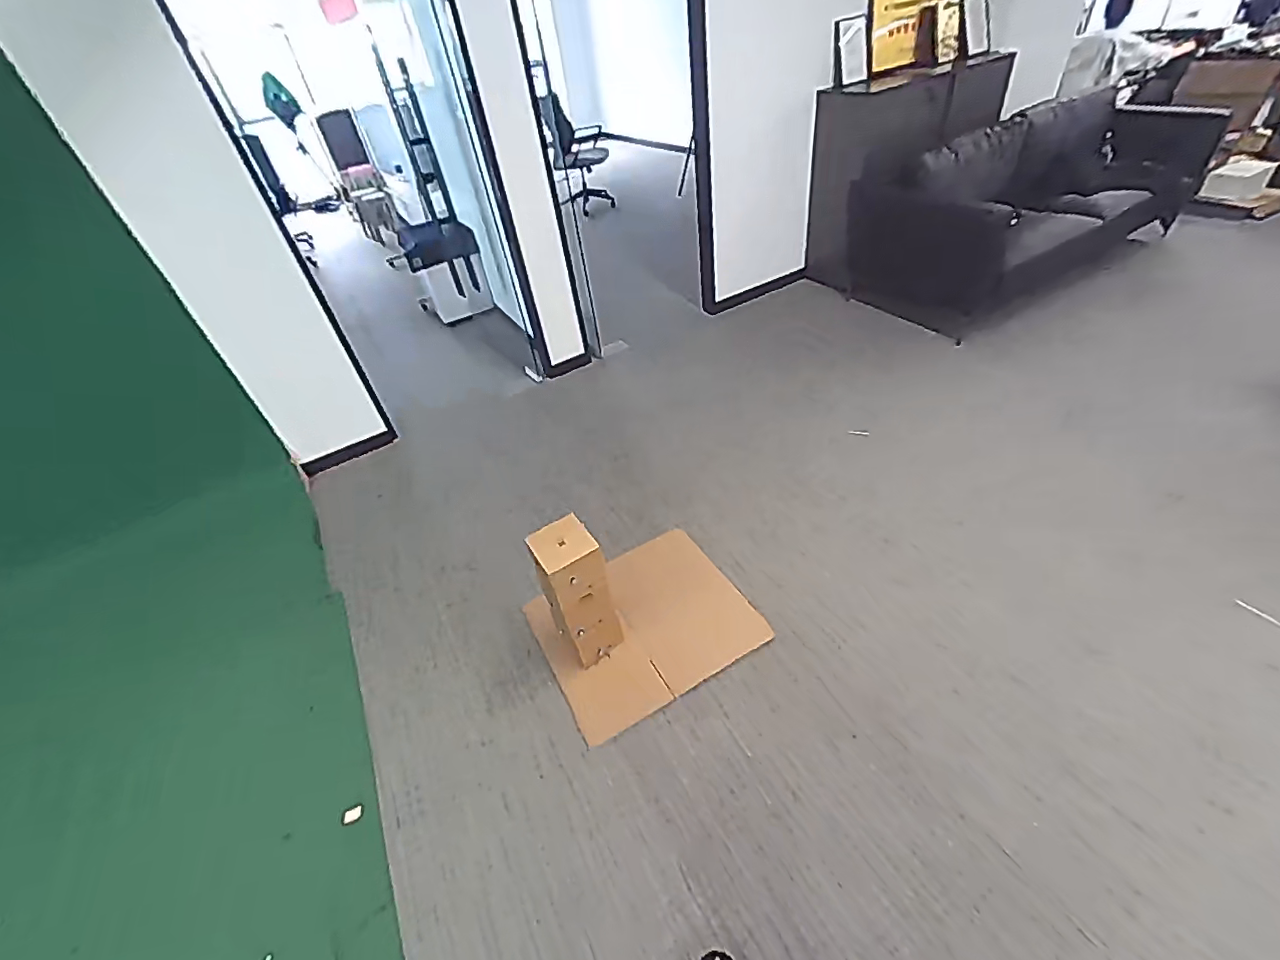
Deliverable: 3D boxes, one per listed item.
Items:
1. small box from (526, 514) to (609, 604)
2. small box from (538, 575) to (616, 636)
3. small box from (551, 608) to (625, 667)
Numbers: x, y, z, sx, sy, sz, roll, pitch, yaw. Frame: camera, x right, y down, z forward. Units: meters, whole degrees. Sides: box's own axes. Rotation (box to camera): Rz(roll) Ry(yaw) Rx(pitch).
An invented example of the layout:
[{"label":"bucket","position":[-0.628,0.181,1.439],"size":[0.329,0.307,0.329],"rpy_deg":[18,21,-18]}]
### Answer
[{"label":"small box","position":[-0.210,0.241,1.592],"size":[0.168,0.176,0.179],"rpy_deg":[-28,44,-19]},{"label":"small box","position":[-0.192,0.364,1.695],"size":[0.168,0.176,0.179],"rpy_deg":[-28,44,-20]},{"label":"small box","position":[-0.170,0.485,1.803],"size":[0.168,0.176,0.179],"rpy_deg":[-31,46,-22]}]
